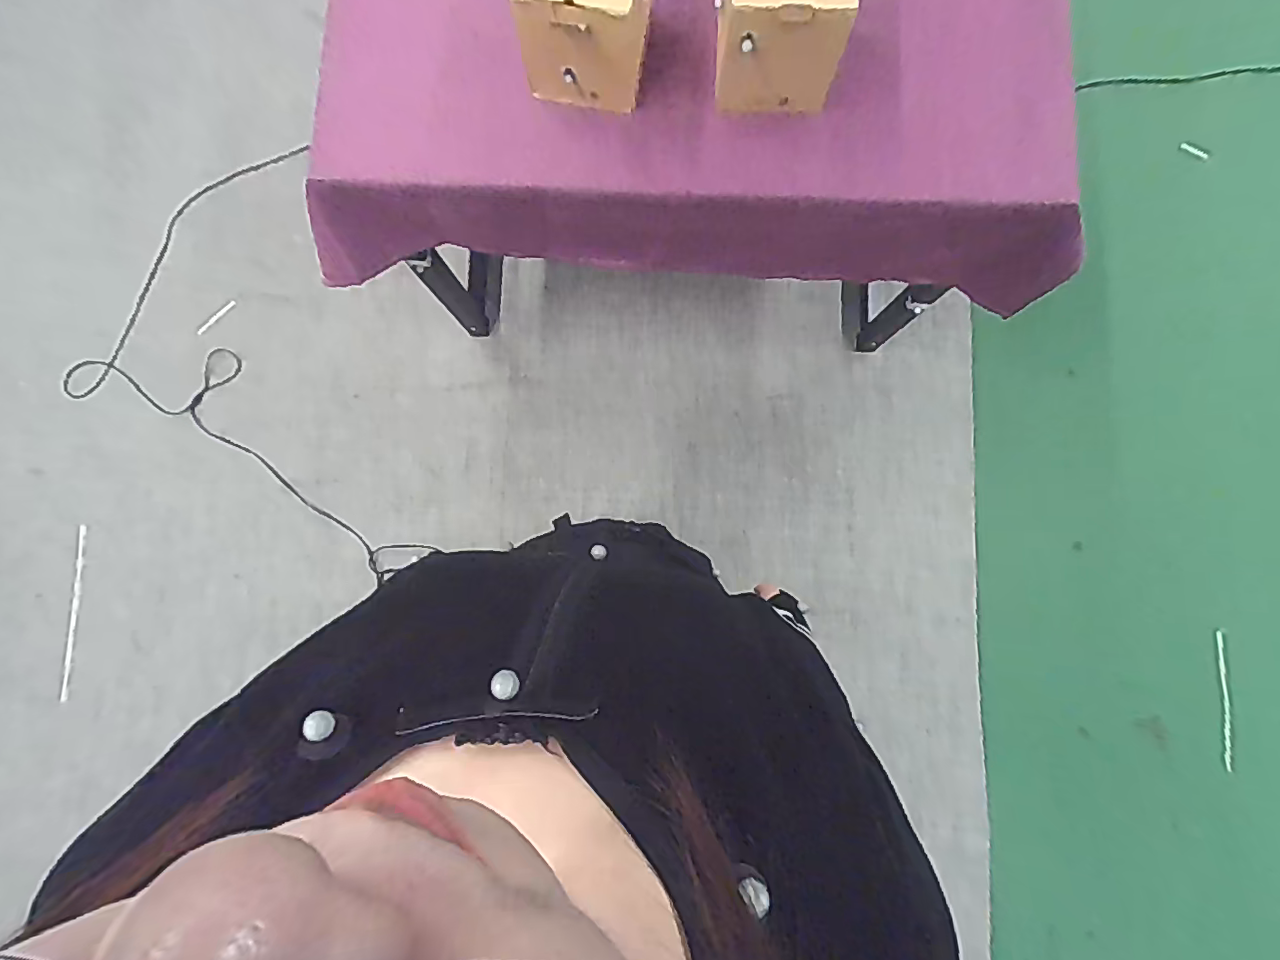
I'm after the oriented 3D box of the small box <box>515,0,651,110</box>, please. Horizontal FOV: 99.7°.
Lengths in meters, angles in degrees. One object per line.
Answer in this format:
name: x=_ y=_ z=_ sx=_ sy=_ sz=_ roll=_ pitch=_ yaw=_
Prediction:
small box: x=-0.076 y=-0.702 z=0.801 sx=0.168 sy=0.176 sz=0.179 roll=11 pitch=86 yaw=1
